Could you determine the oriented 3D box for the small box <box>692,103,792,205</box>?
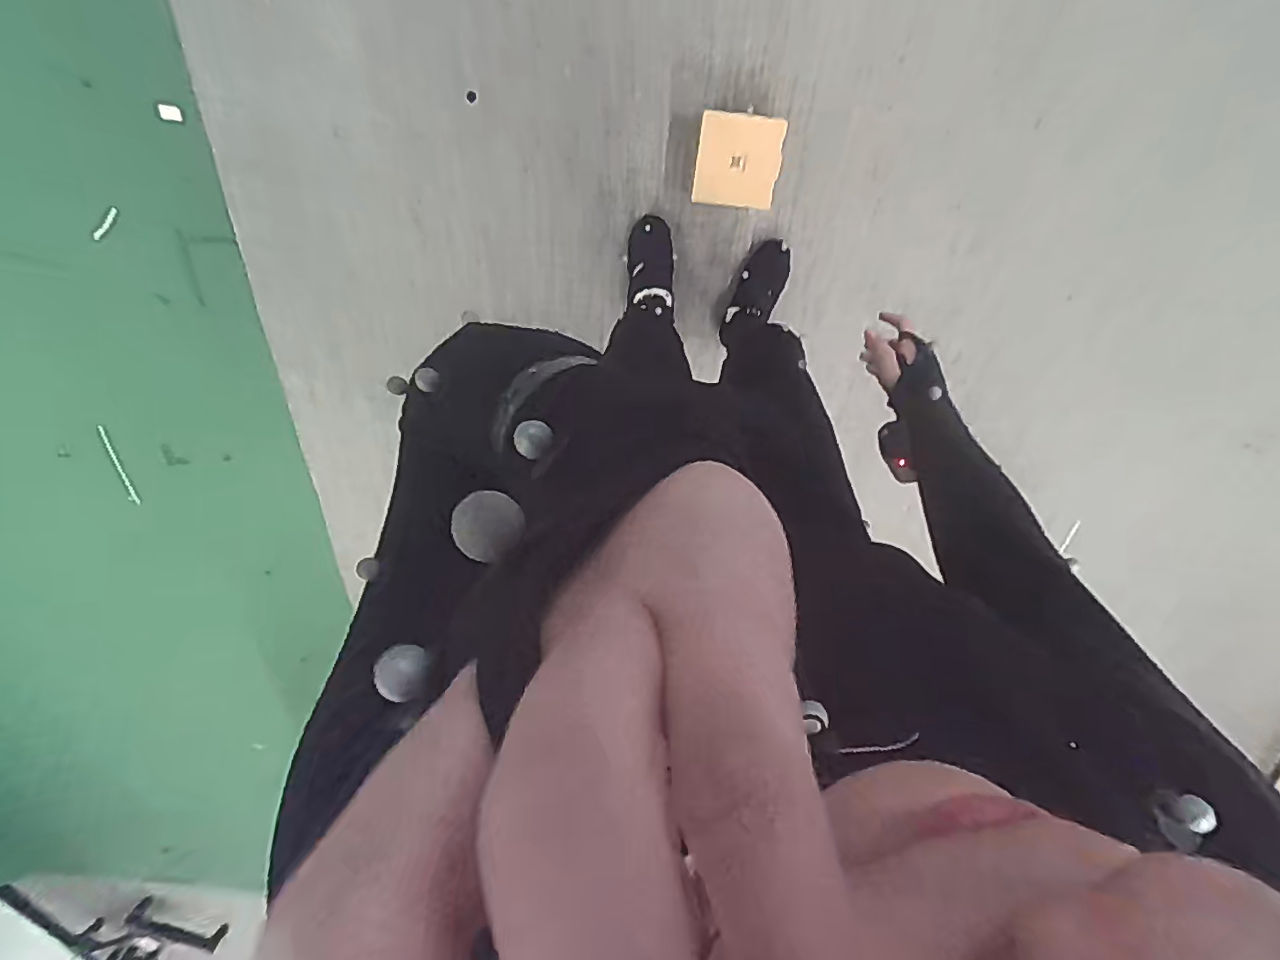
[{"bbox_3d":[0.211,-0.706,1.178,0.179,0.176,0.168,6,122,-1],"label":"small box"}]
